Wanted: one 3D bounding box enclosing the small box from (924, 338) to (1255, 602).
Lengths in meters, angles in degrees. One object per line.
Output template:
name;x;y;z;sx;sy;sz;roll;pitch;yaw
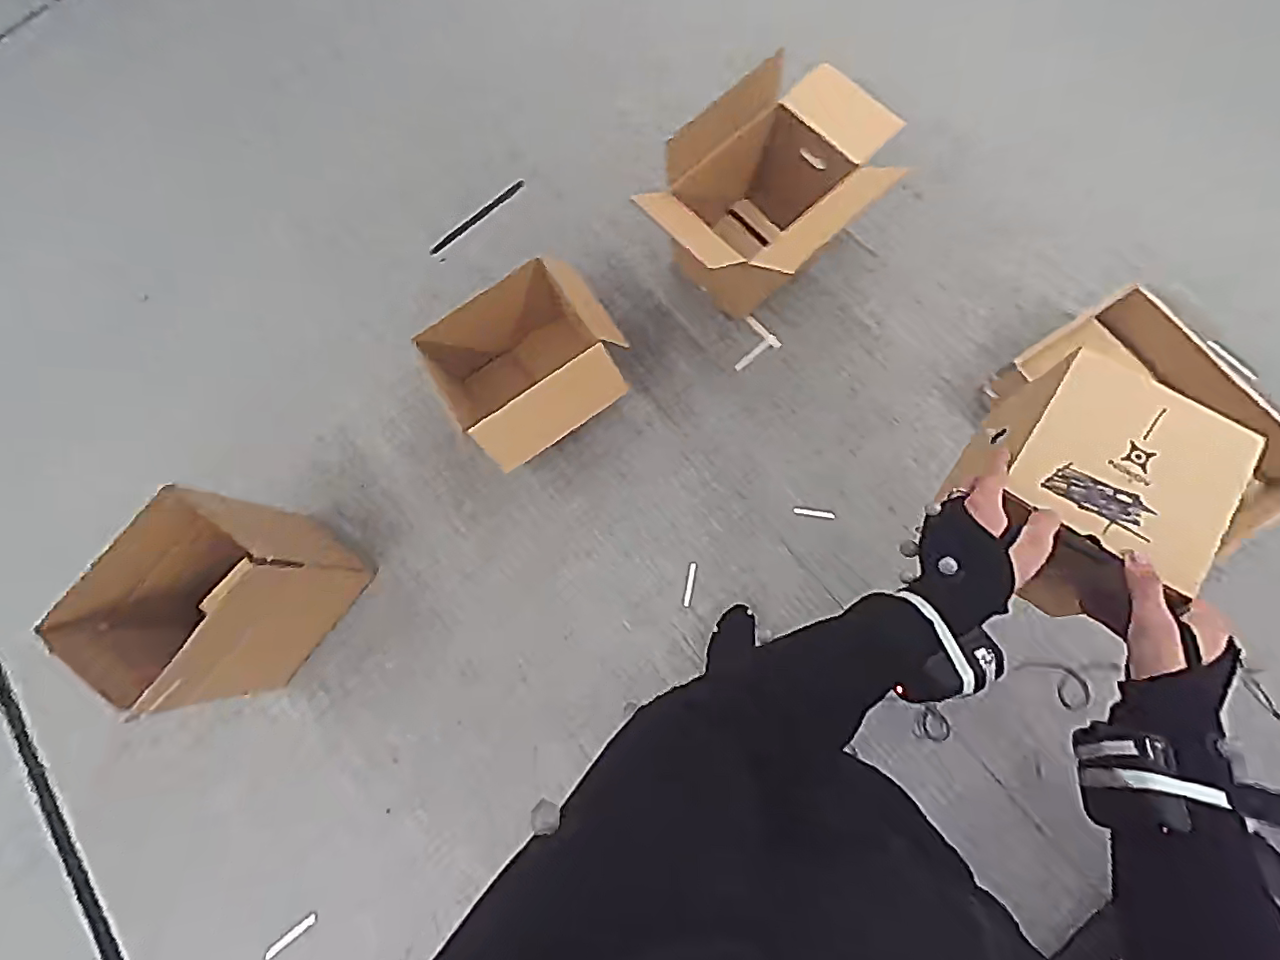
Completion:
small box;0.420;0.003;0.540;0.168;0.176;0.179;34;76;12
